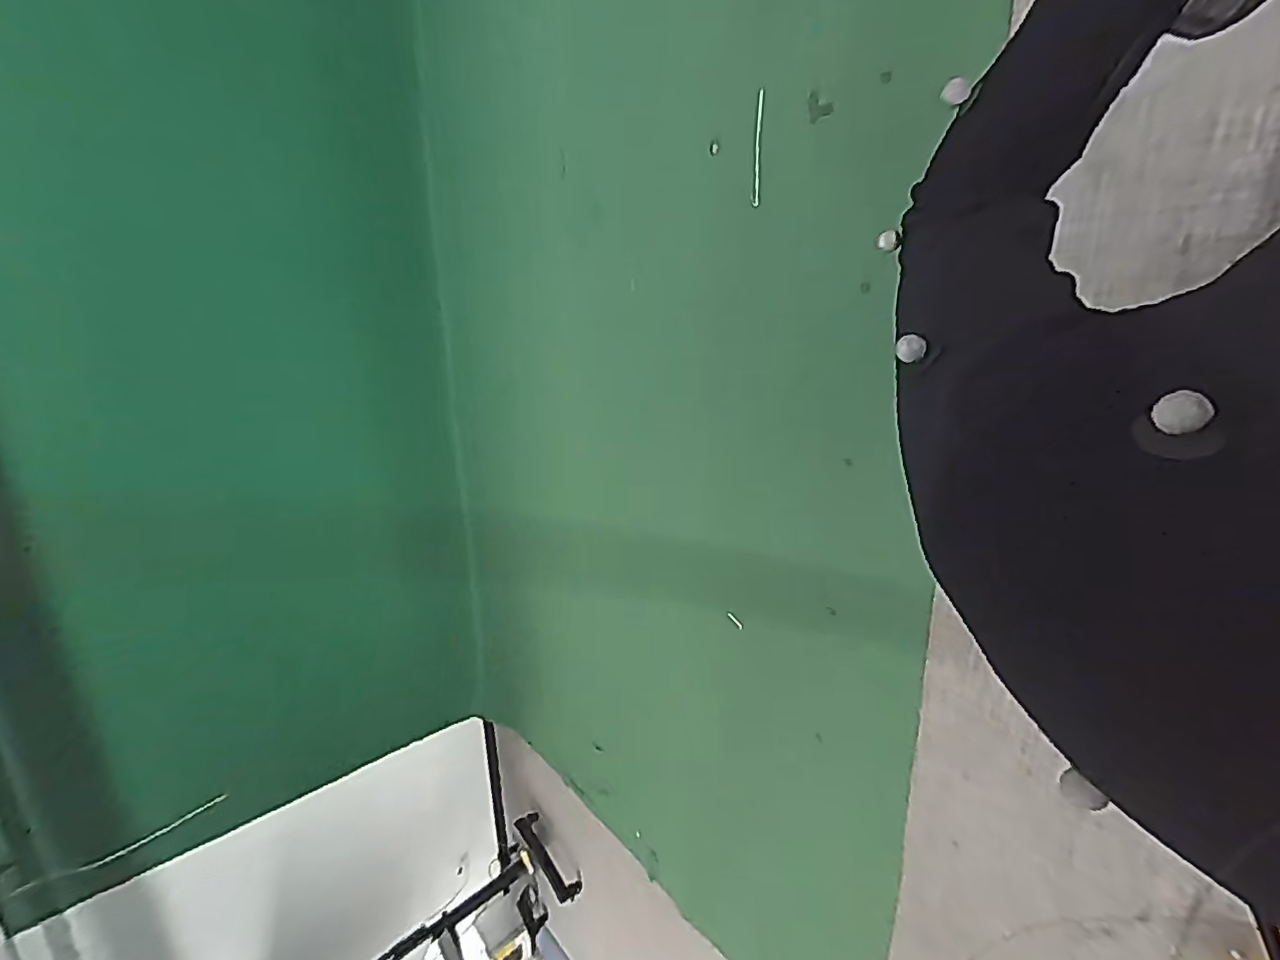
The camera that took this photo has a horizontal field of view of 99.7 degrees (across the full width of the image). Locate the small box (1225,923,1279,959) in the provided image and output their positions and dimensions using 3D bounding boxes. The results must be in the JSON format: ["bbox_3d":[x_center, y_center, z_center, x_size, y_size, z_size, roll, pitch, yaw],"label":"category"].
[{"bbox_3d":[1.271,1.018,1.032,0.179,0.176,0.168,33,124,41],"label":"small box"}]
